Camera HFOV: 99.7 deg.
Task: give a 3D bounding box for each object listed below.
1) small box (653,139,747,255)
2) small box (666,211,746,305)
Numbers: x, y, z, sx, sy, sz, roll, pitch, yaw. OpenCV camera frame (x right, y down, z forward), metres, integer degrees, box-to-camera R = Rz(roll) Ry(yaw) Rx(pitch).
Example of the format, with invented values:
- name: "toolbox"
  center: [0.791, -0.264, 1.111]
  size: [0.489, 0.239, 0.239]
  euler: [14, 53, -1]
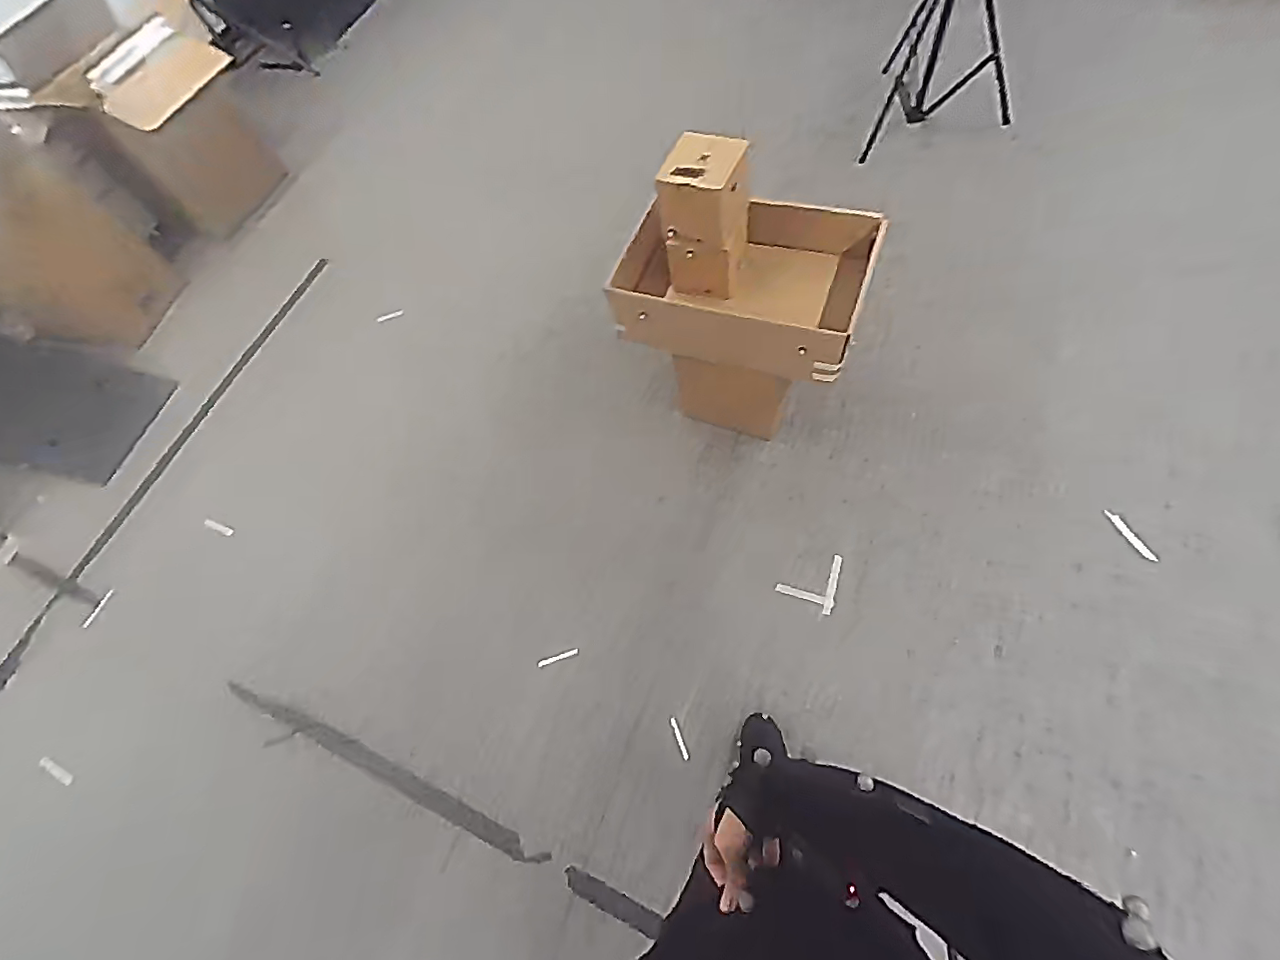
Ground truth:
- name: "small box"
  center: [0.150, -0.676, 1.302]
  size: [0.168, 0.176, 0.179]
  euler: [21, 69, 18]
- name: "small box"
  center: [0.179, -0.602, 1.447]
  size: [0.168, 0.176, 0.179]
  euler: [14, 67, 16]
